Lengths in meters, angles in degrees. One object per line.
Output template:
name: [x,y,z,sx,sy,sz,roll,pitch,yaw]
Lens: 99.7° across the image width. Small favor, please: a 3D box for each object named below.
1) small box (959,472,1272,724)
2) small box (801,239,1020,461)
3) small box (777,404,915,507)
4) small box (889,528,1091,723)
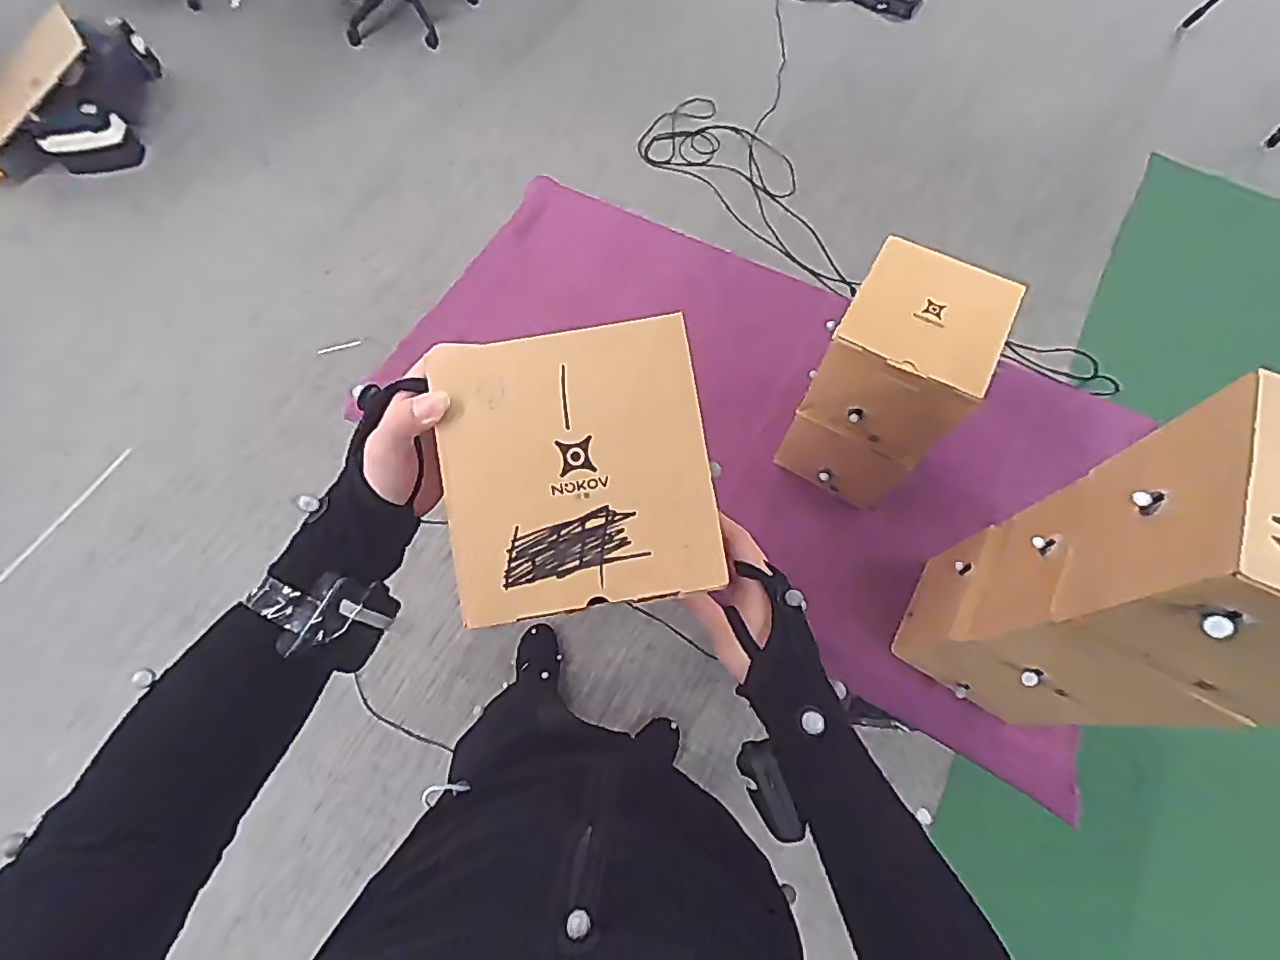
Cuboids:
small box: [0.473,0.128,0.563,0.168,0.176,0.179,30,70,14]
small box: [0.326,-0.155,0.684,0.168,0.176,0.179,28,71,11]
small box: [0.332,-0.089,0.832,0.168,0.176,0.179,31,71,13]
small box: [0.469,0.195,0.714,0.179,0.176,0.168,30,70,13]
